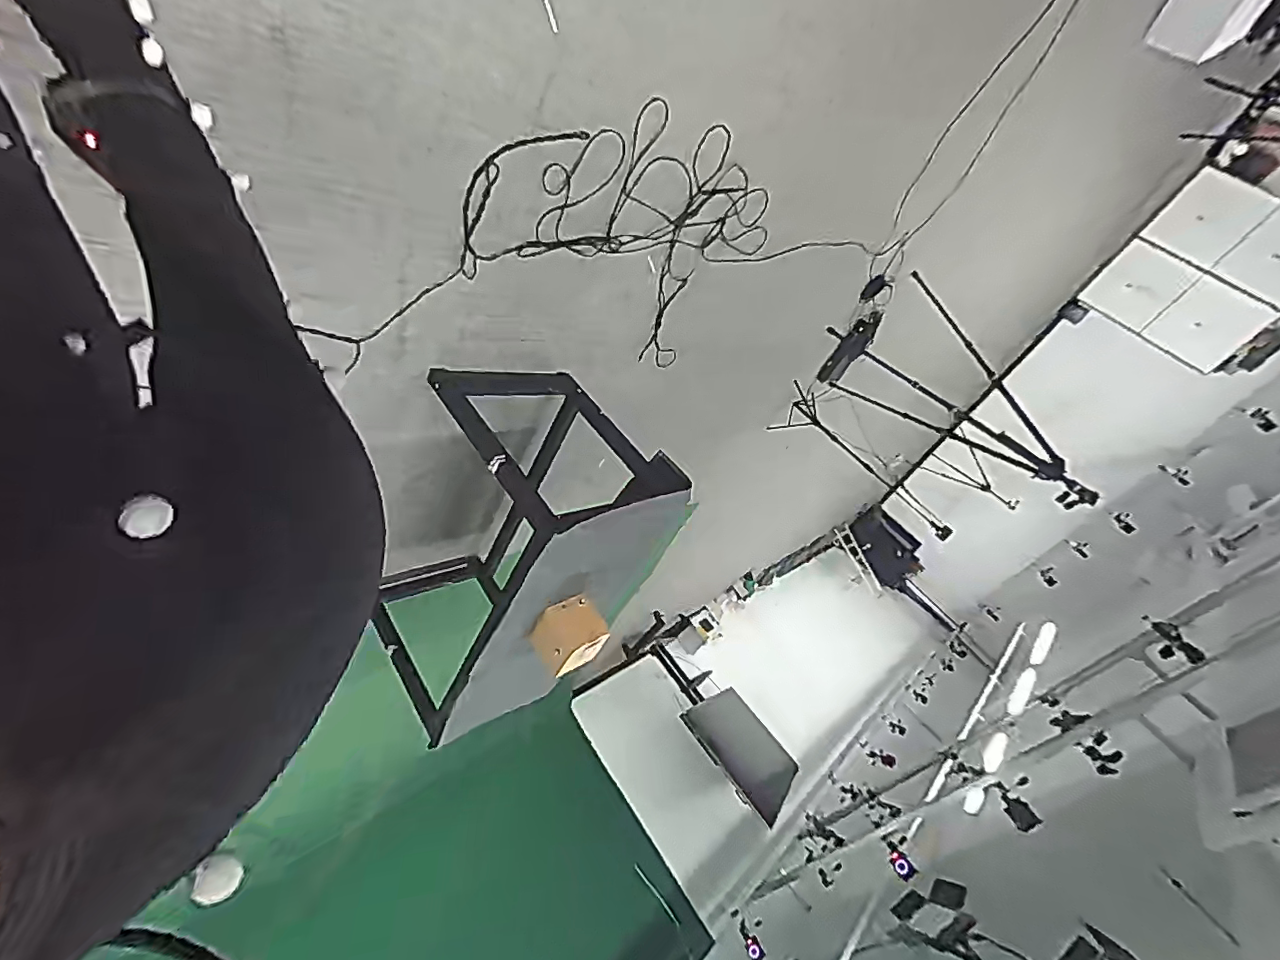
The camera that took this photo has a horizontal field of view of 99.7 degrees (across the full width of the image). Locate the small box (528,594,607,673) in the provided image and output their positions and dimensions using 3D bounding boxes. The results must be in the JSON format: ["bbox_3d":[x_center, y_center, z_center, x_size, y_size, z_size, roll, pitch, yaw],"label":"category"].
[{"bbox_3d":[-0.244,0.497,1.788,0.168,0.176,0.179,-13,144,-46],"label":"small box"}]
